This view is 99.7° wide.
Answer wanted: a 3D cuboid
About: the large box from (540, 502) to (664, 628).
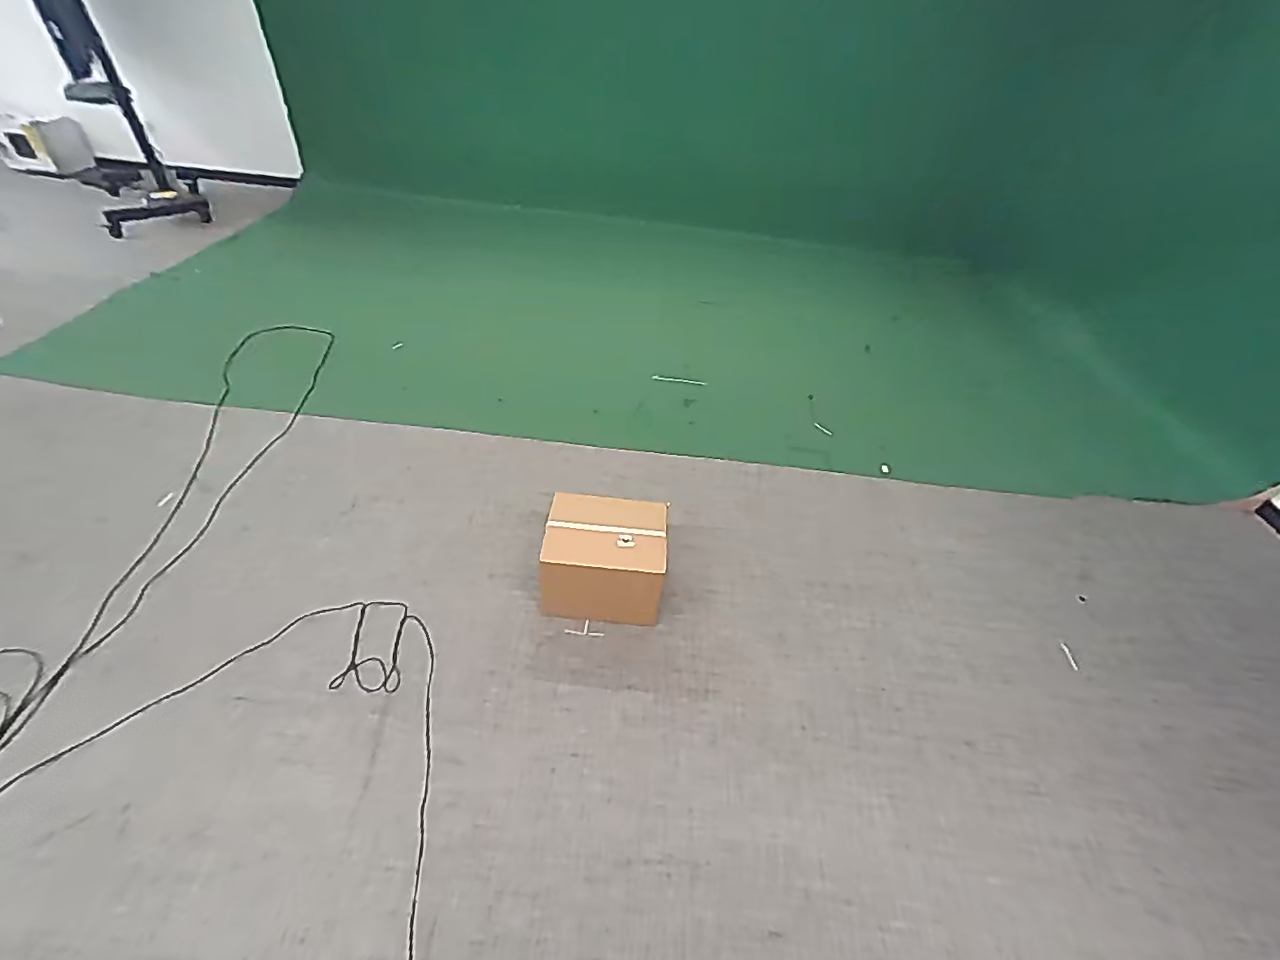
[{"bbox_3d":[-0.132,0.304,1.921,0.408,0.320,0.320,5,42,-2],"label":"large box"}]
